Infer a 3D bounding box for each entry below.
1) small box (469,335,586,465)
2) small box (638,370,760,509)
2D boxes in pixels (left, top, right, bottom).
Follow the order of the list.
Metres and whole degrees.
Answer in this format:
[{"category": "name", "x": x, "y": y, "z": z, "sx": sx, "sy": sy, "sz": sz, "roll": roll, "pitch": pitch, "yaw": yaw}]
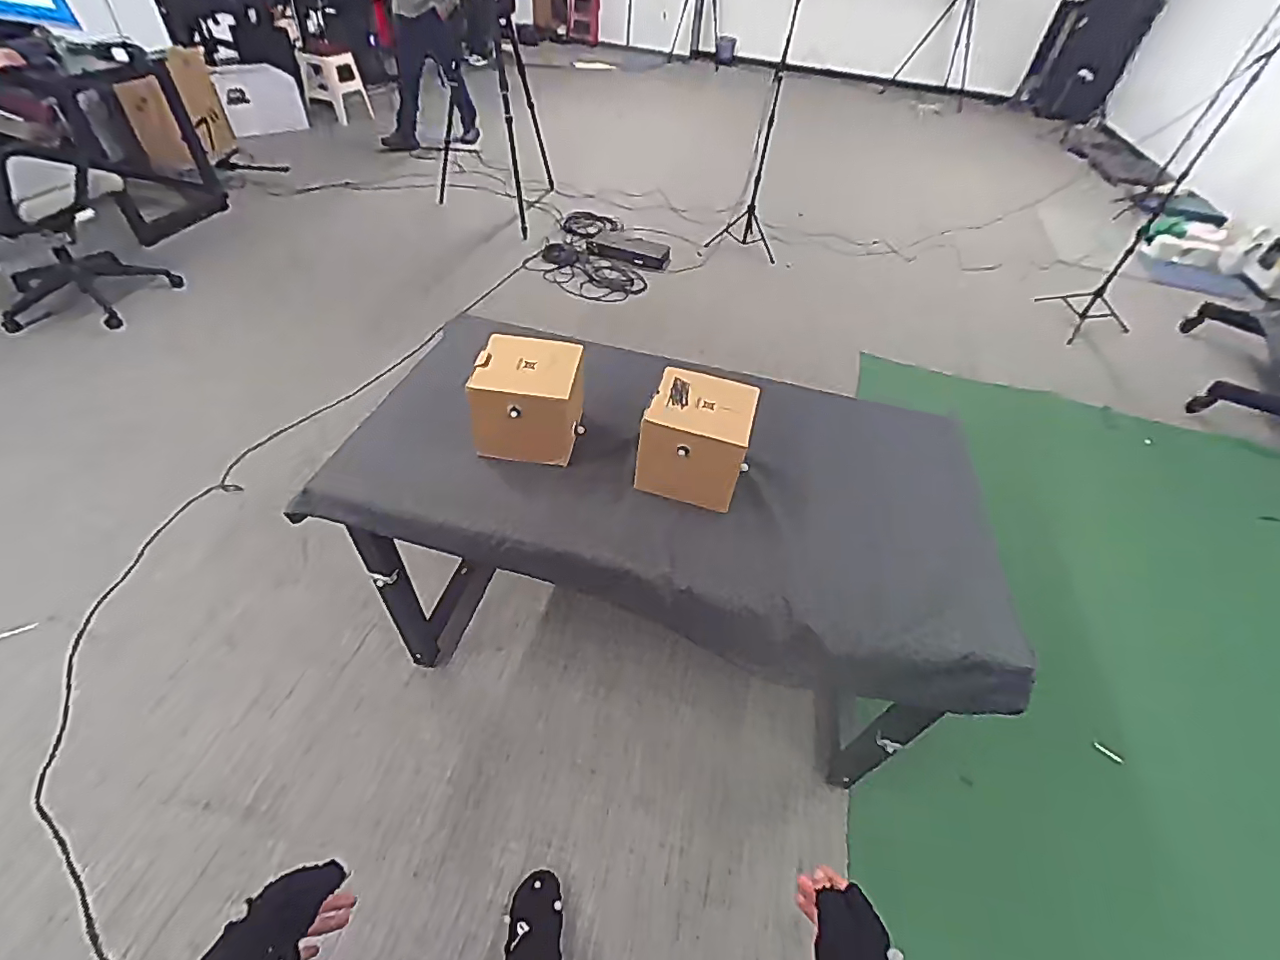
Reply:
[{"category": "small box", "x": -0.202, "y": -0.146, "z": 1.017, "sx": 0.179, "sy": 0.176, "sz": 0.168, "roll": 8, "pitch": 48, "yaw": -1}, {"category": "small box", "x": 0.103, "y": -0.070, "z": 0.980, "sx": 0.179, "sy": 0.176, "sz": 0.168, "roll": 16, "pitch": 47, "yaw": 7}]
